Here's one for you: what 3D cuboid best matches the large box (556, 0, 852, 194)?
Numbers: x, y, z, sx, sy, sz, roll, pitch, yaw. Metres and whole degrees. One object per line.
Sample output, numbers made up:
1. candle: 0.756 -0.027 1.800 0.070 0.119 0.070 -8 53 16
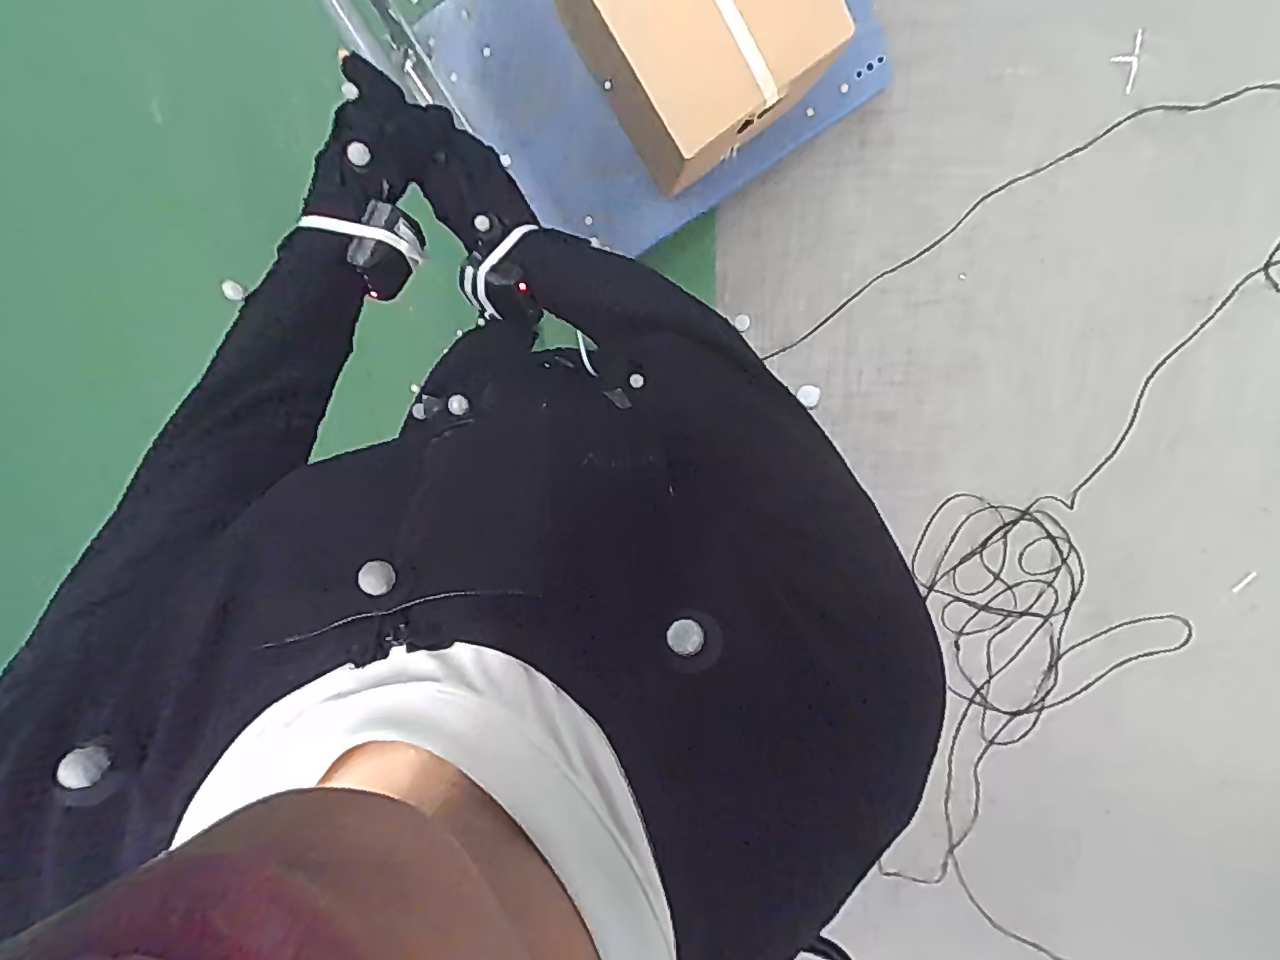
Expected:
1. large box: 0.080 -0.792 0.927 0.320 0.320 0.408 -34 105 7
